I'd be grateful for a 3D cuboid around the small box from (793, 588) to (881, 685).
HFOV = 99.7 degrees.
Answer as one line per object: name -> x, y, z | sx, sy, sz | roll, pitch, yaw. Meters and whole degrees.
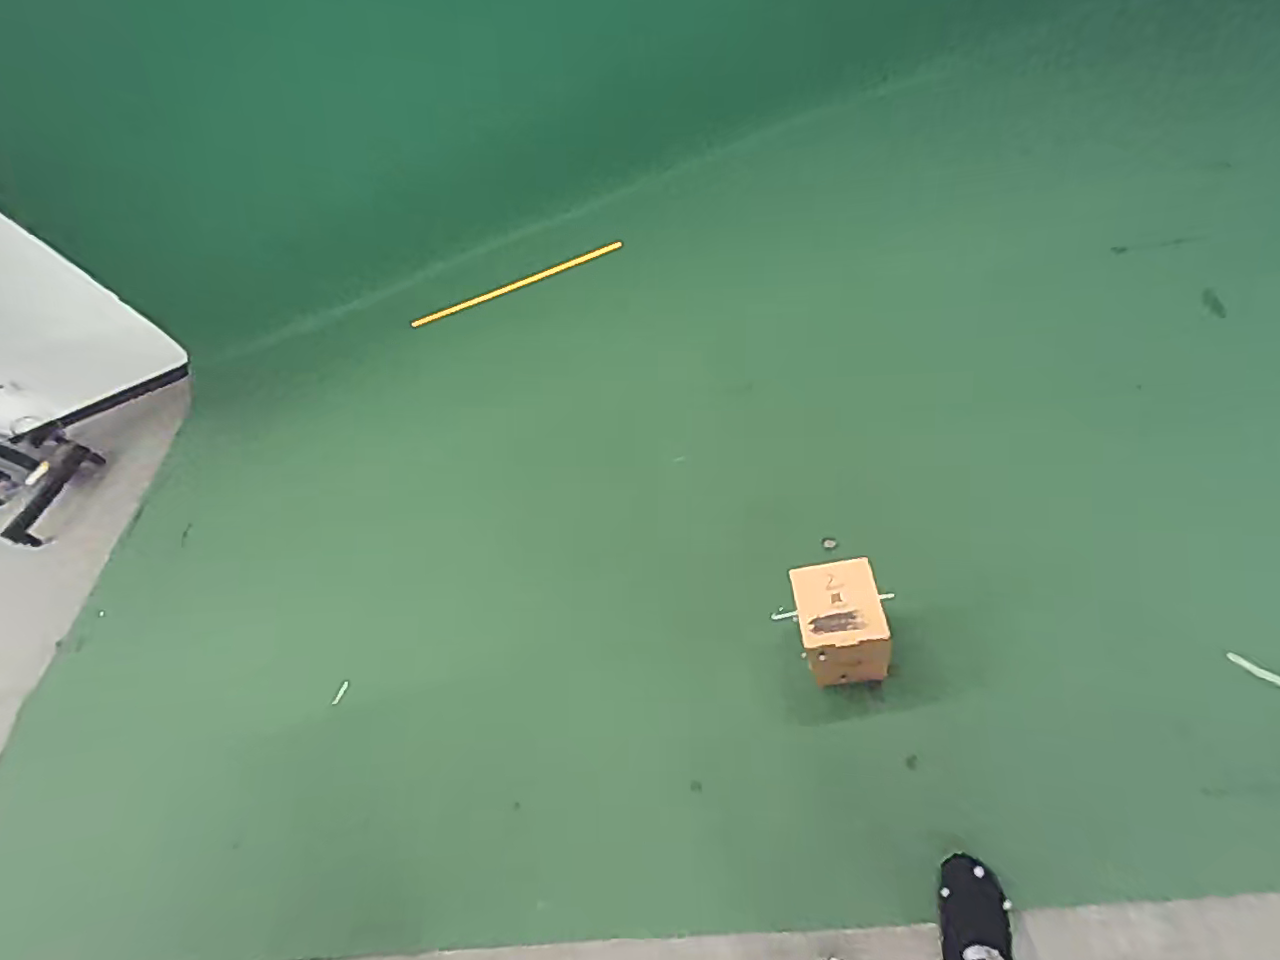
small box -> 0.475, 0.384, 1.316 | 0.168, 0.176, 0.179 | -12, 55, 15
